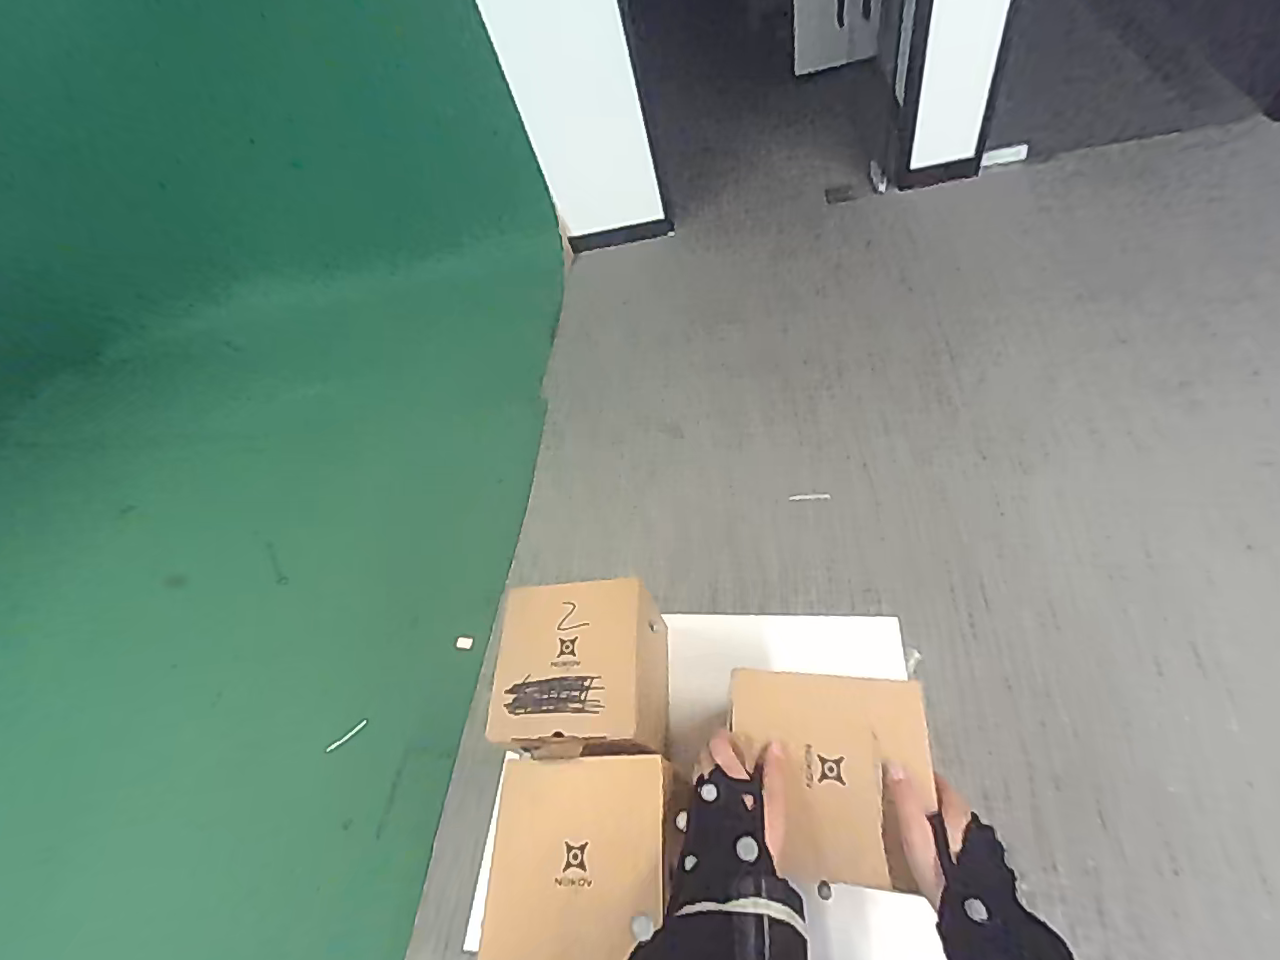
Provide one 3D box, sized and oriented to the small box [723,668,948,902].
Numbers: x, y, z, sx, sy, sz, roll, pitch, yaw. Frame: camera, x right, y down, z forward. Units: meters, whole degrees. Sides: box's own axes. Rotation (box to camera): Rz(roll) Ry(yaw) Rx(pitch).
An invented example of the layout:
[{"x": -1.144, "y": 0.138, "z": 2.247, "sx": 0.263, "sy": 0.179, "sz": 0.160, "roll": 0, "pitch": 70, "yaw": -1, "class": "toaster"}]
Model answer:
[{"x": 0.183, "y": 0.298, "z": 0.542, "sx": 0.179, "sy": 0.176, "sz": 0.168, "roll": -1, "pitch": 59, "yaw": 15, "class": "small box"}]
